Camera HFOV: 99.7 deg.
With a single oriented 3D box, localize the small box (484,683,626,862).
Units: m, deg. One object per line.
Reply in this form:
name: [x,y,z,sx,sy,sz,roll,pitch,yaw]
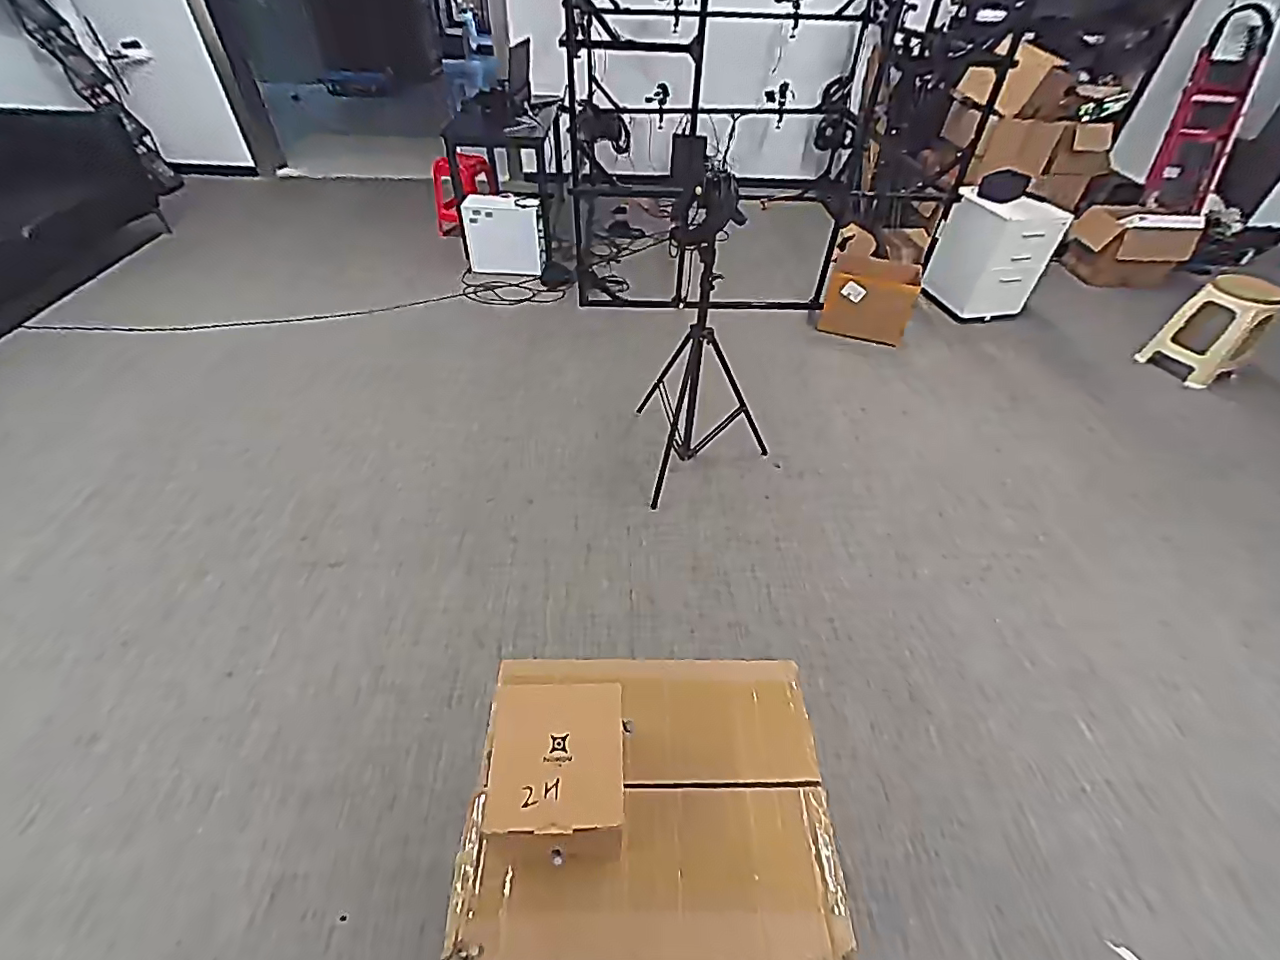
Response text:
small box: [-0.105,0.399,0.739,0.168,0.176,0.179,0,45,-3]
